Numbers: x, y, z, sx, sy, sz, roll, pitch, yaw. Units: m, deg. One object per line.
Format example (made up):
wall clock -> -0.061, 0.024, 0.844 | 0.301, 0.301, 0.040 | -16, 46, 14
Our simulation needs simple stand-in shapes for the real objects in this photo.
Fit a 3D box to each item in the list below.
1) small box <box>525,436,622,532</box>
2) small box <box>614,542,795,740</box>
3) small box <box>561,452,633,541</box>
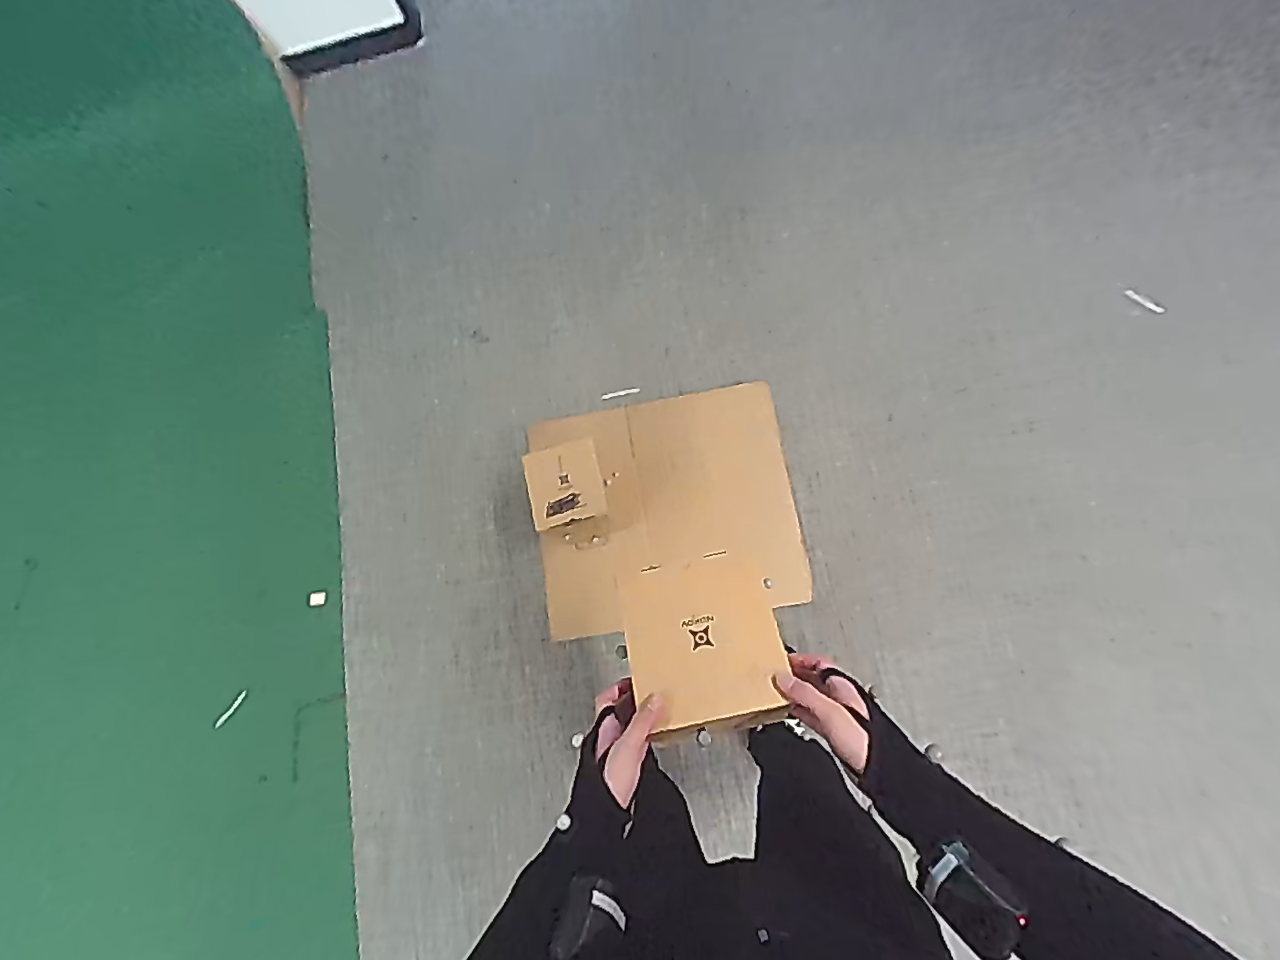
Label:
small box -> -0.147, 0.018, 1.243 | 0.168, 0.176, 0.179 | -14, 77, 4
small box -> 0.075, 0.201, 0.648 | 0.168, 0.176, 0.179 | -14, 57, 2
small box -> -0.126, 0.050, 1.403 | 0.168, 0.176, 0.179 | -18, 78, 4
